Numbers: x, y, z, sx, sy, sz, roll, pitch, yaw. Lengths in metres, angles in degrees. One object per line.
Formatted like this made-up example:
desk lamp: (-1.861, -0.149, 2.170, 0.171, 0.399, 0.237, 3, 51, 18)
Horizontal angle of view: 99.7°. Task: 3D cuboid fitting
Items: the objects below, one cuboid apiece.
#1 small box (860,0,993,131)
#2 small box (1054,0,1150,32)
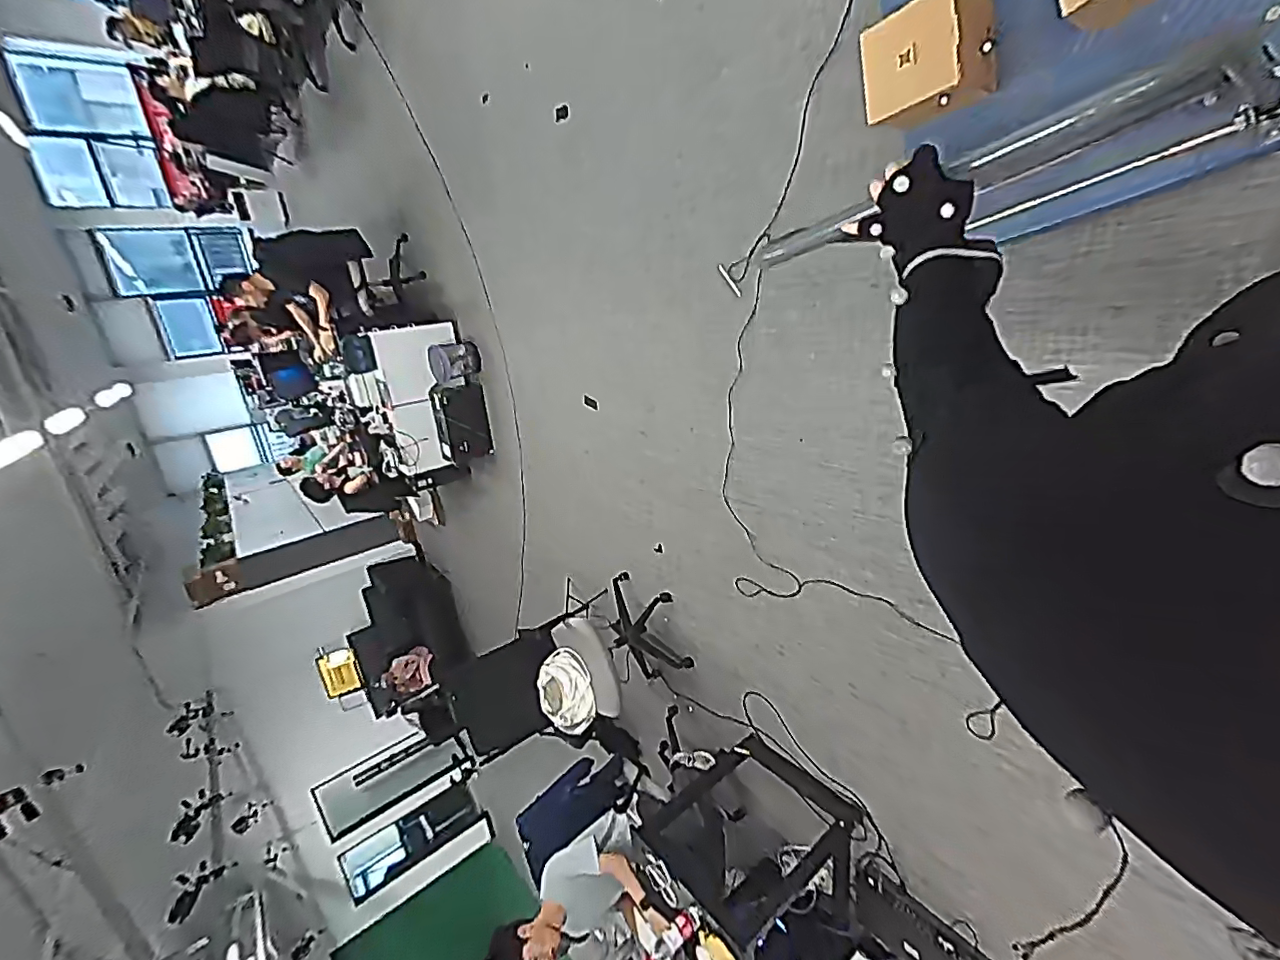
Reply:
small box: (0.557, -0.809, 1.053, 0.179, 0.176, 0.168, 5, 110, 51)
small box: (0.737, -0.818, 0.802, 0.179, 0.176, 0.168, -9, 100, 55)
